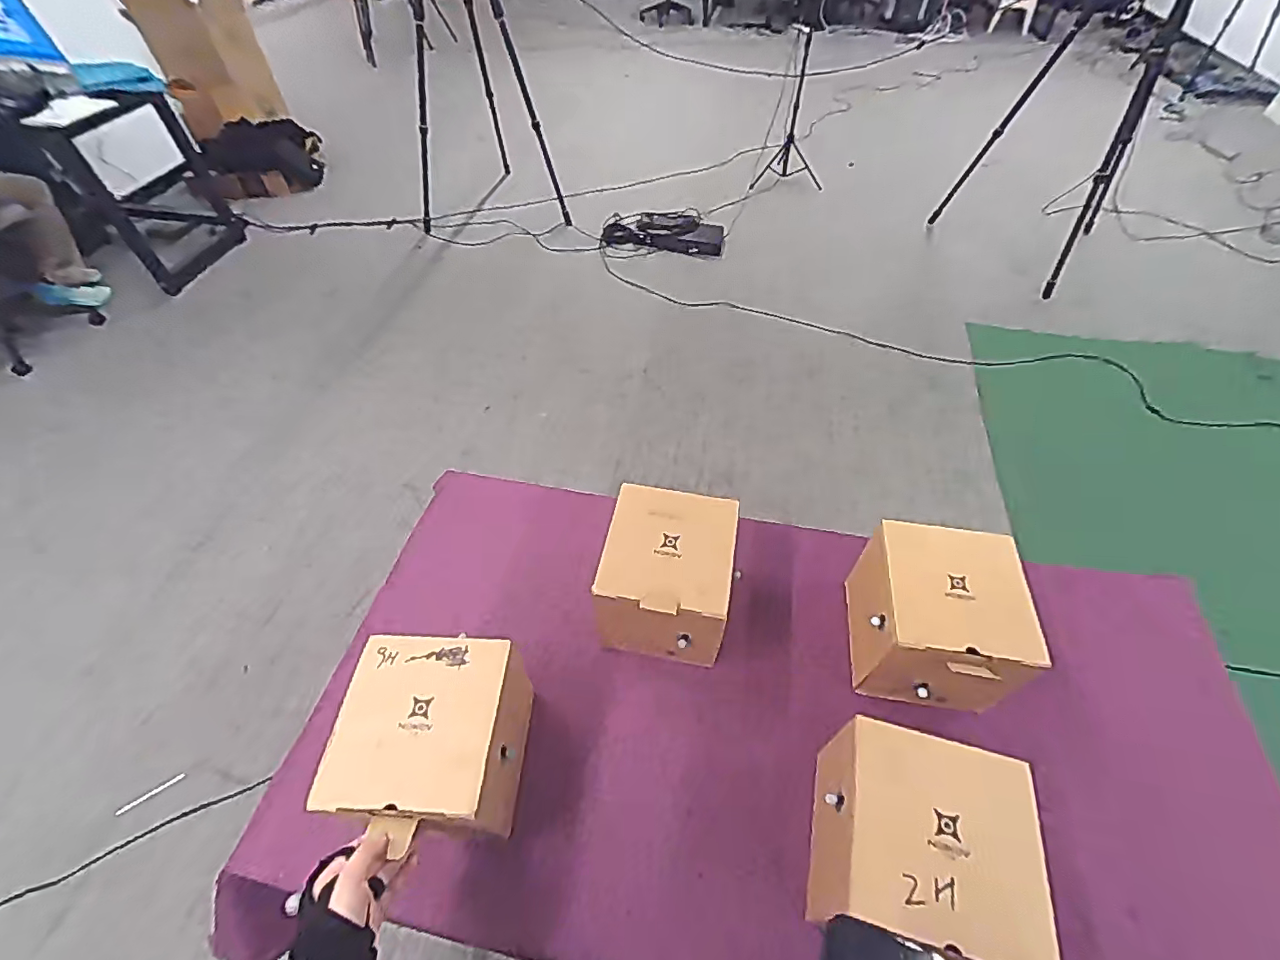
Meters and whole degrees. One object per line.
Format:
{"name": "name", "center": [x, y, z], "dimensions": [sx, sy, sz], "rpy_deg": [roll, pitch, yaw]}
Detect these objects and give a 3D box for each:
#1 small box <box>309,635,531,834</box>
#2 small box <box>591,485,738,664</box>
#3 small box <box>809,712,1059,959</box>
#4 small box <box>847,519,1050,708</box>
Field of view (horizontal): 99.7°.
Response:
{"name": "small box", "center": [-0.230, 0.297, 0.624], "dimensions": [0.168, 0.176, 0.179], "rpy_deg": [2, 51, 2]}
{"name": "small box", "center": [0.038, 0.135, 0.753], "dimensions": [0.168, 0.176, 0.179], "rpy_deg": [9, 51, 7]}
{"name": "small box", "center": [0.278, 0.371, 0.553], "dimensions": [0.168, 0.176, 0.179], "rpy_deg": [12, 52, 11]}
{"name": "small box", "center": [0.383, 0.177, 0.713], "dimensions": [0.168, 0.176, 0.179], "rpy_deg": [7, 52, 7]}
